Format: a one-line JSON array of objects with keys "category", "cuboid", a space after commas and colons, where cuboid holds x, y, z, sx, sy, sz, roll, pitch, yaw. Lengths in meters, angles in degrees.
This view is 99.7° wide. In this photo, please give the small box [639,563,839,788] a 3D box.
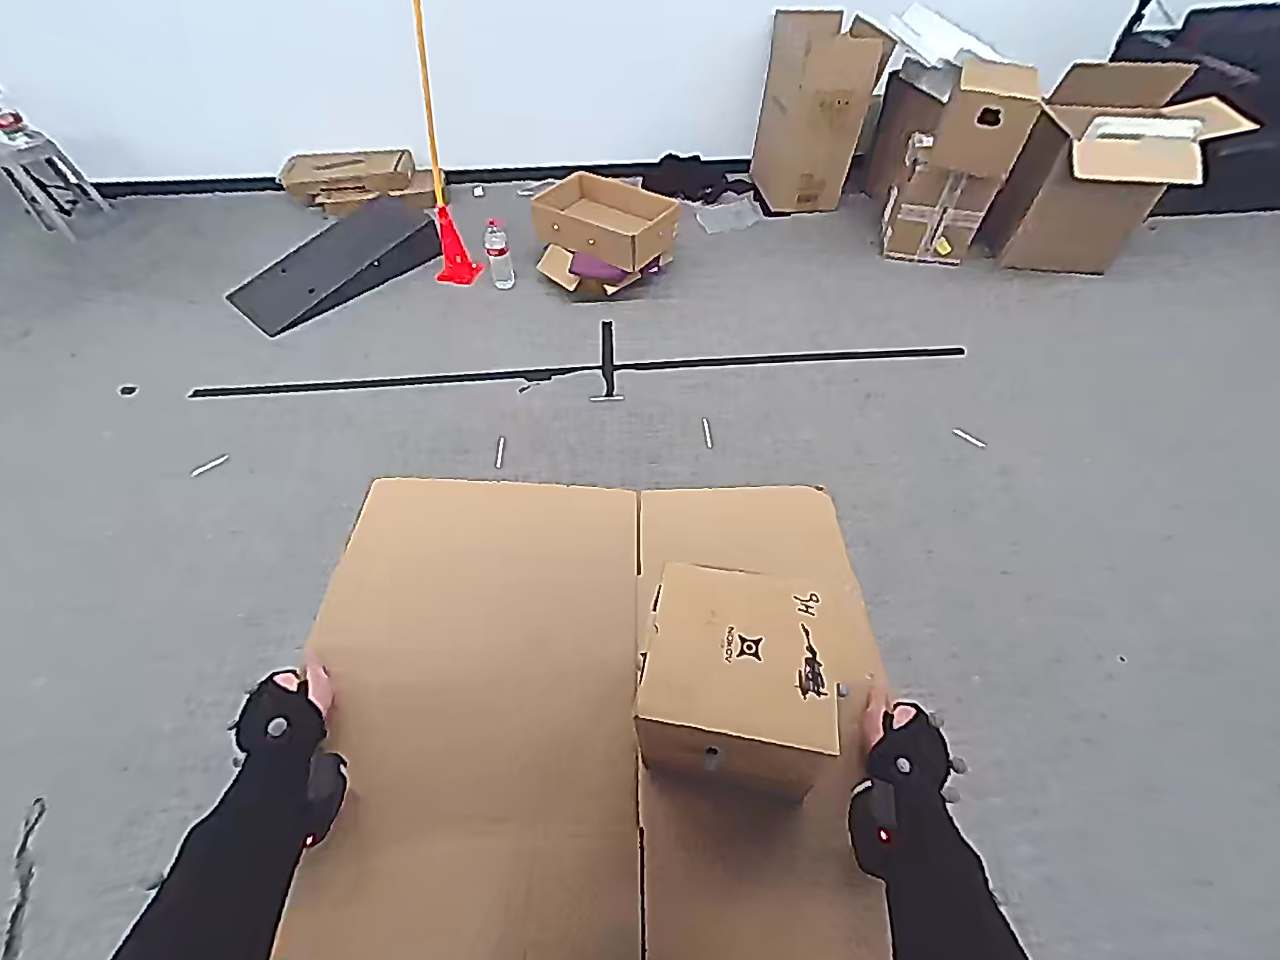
[{"category": "small box", "cuboid": [0.105, 0.211, 0.579, 0.179, 0.176, 0.168, 5, 50, 10]}]
